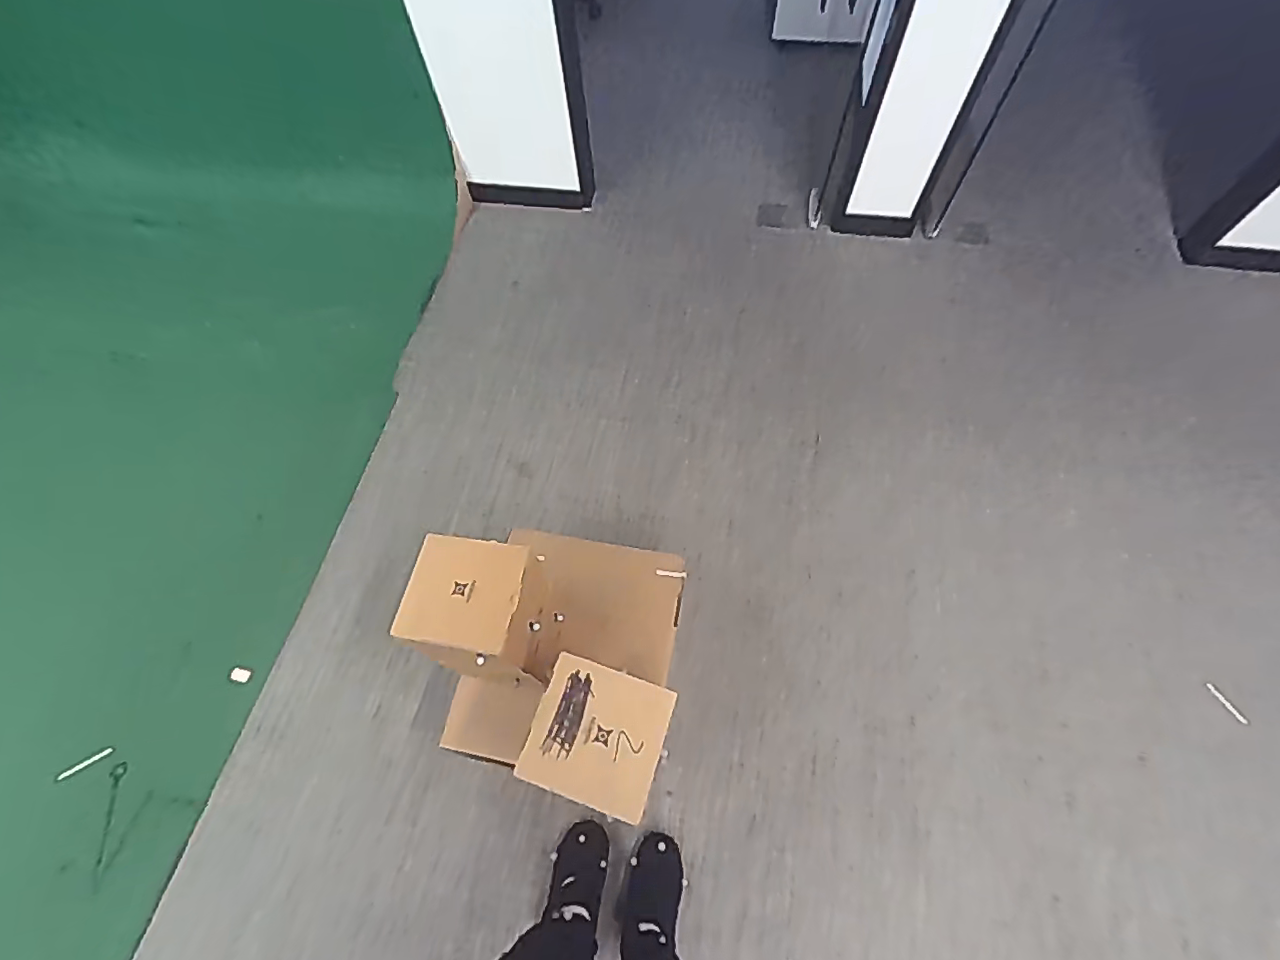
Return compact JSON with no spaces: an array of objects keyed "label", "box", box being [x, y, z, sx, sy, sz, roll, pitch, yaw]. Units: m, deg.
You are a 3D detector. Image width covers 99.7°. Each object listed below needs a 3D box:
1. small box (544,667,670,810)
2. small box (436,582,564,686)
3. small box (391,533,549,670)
[{"label":"small box","box":[-0.050,0.444,0.933,0.168,0.176,0.179,12,63,8]},{"label":"small box","box":[-0.252,0.286,1.027,0.179,0.176,0.168,6,61,7]},{"label":"small box","box":[-0.264,0.205,0.887,0.179,0.176,0.168,8,61,6]}]
